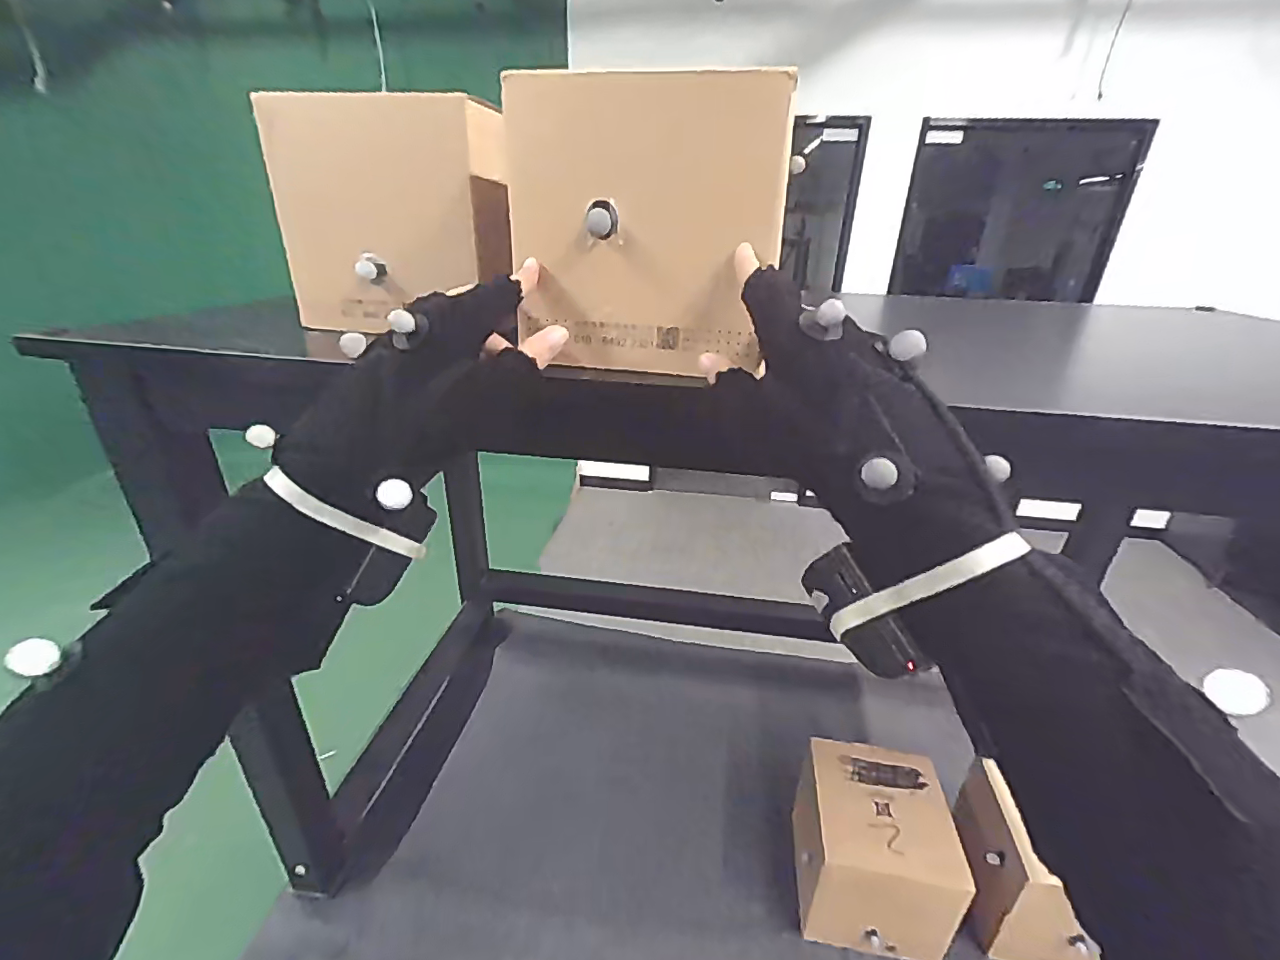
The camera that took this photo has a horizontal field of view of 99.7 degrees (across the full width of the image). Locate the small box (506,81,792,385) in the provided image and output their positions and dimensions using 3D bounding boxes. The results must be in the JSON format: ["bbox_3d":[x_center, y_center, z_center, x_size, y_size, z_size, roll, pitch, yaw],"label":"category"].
[{"bbox_3d":[0.018,-0.174,0.405,0.168,0.176,0.179,6,25,10],"label":"small box"}]

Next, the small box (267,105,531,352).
[{"bbox_3d":[-0.183,-0.222,0.490,0.168,0.176,0.179,6,26,8],"label":"small box"}]

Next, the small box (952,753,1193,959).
[{"bbox_3d":[0.537,0.501,0.706,0.168,0.176,0.179,6,25,10],"label":"small box"}]
